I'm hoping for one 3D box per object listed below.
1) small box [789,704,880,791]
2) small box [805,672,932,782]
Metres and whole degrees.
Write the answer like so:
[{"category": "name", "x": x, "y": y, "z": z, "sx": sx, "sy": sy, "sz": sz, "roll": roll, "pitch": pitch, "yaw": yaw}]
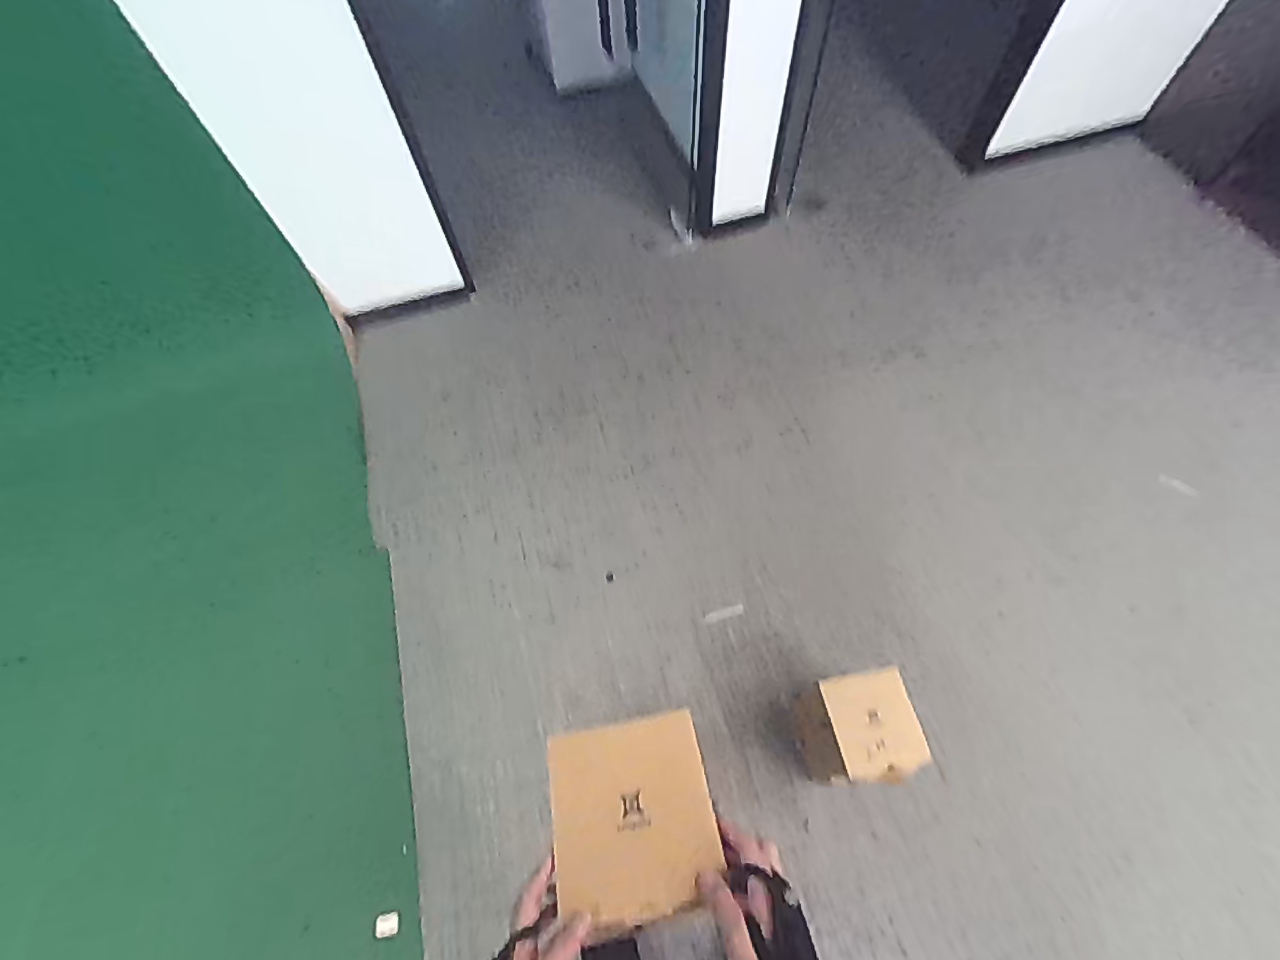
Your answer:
[{"category": "small box", "x": 0.466, "y": 0.602, "z": 1.258, "sx": 0.168, "sy": 0.176, "sz": 0.179, "roll": -14, "pitch": 63, "yaw": -5}, {"category": "small box", "x": 0.457, "y": 0.515, "z": 1.118, "sx": 0.168, "sy": 0.176, "sz": 0.179, "roll": -10, "pitch": 62, "yaw": -2}]
